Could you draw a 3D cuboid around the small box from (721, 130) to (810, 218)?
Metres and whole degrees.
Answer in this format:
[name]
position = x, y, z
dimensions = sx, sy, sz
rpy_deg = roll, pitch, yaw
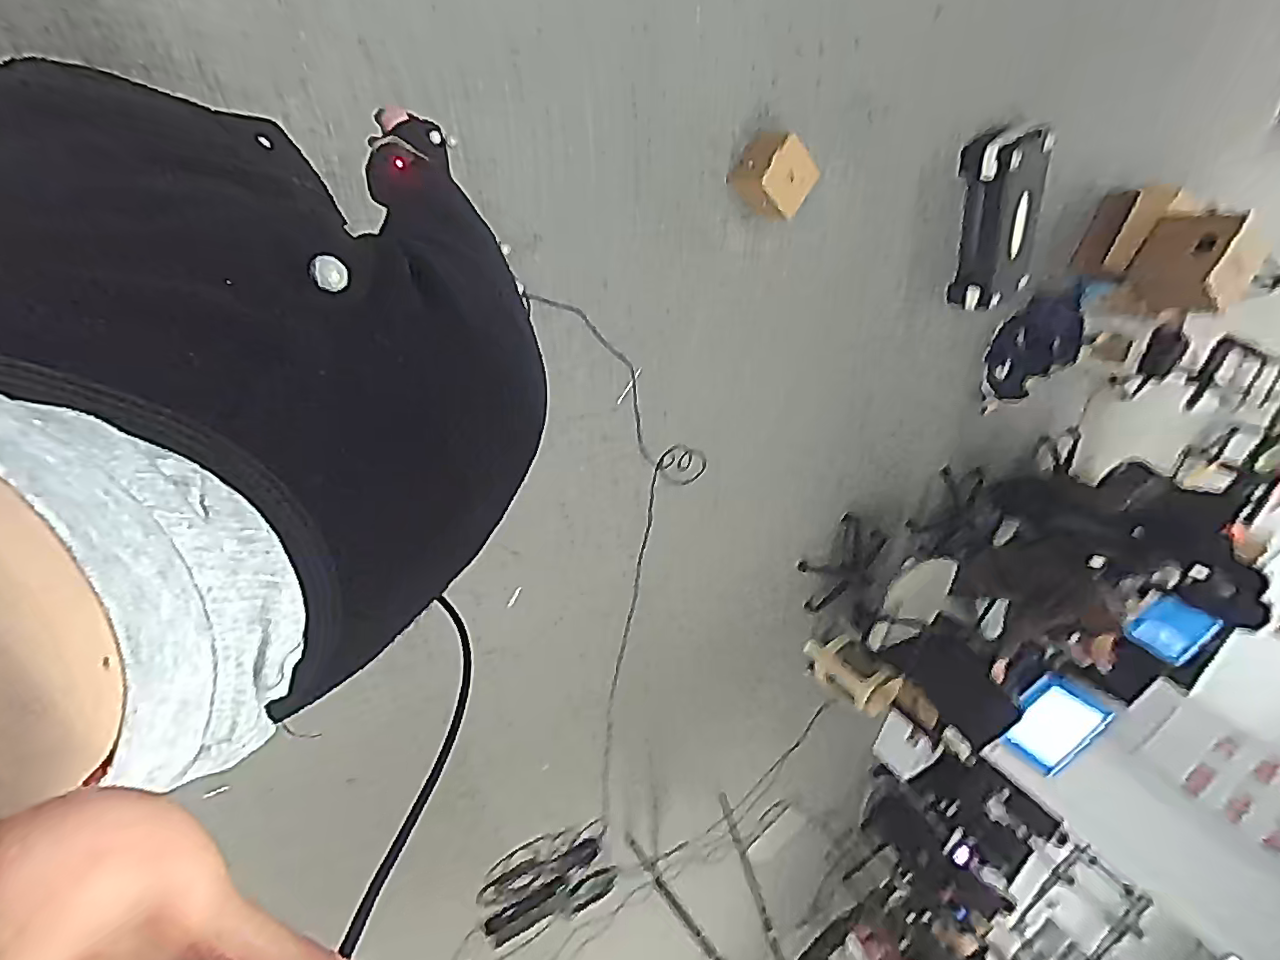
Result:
[small box]
position = 0.386, -0.946, 1.681
dimensions = 0.179, 0.176, 0.168
rpy_deg = 26, 100, -42
